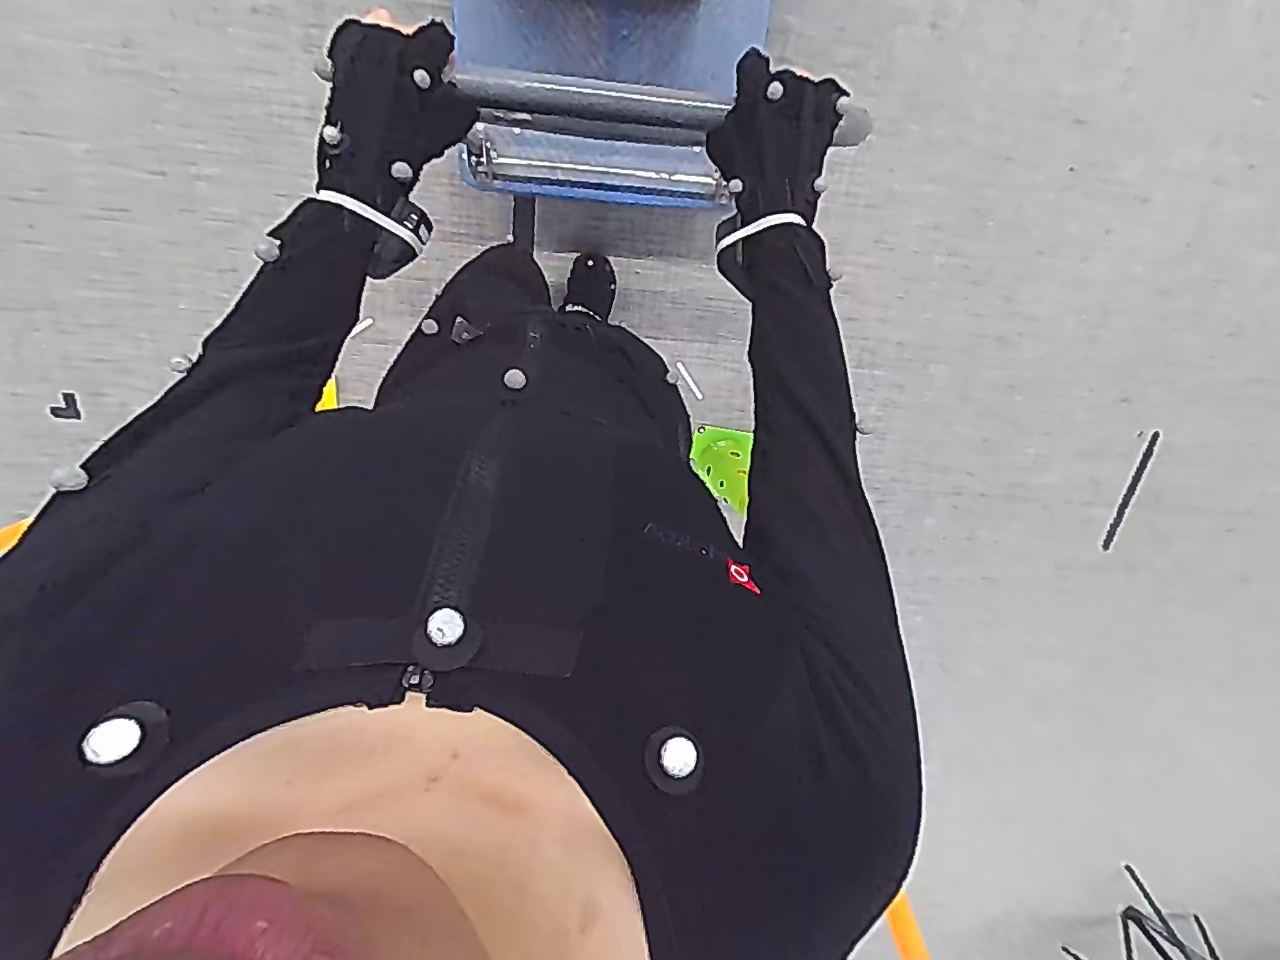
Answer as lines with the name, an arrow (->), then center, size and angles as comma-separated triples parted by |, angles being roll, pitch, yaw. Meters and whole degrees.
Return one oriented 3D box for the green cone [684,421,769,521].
green cone -> 0.247, 0.007, 1.359 | 0.202, 0.368, 0.200 | 7, 112, -8
